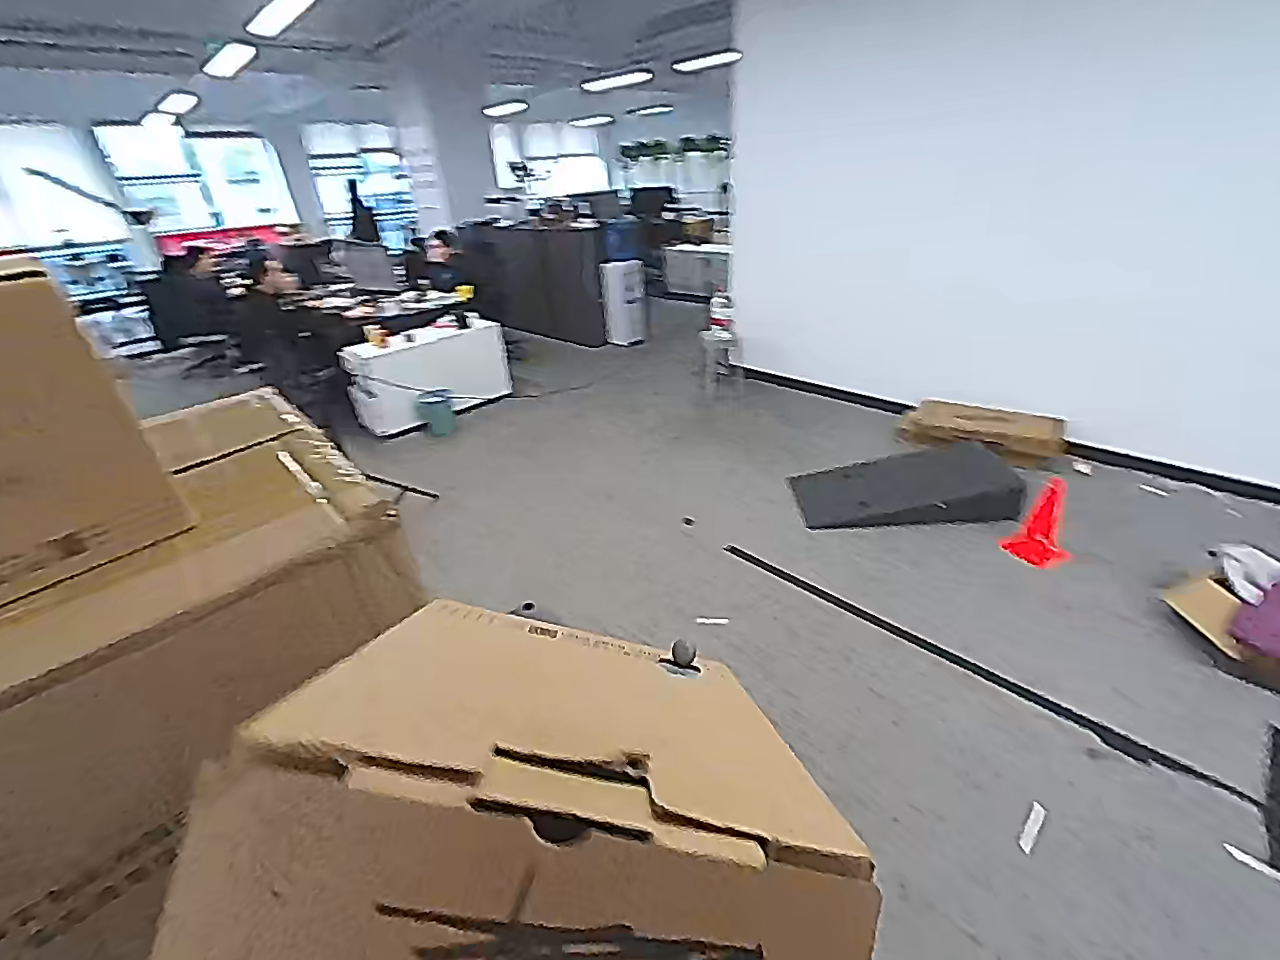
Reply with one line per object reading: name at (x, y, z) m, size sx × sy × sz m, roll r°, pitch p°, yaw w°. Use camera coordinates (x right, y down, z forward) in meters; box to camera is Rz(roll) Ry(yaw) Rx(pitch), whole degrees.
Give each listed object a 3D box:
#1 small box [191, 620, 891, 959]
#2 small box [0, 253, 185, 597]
small box at (-0.041, 0.168, 0.208) m, size 0.168 × 0.179 × 0.176 m, roll 14°, pitch -2°, yaw -4°
small box at (-0.424, -0.029, 0.327) m, size 0.179 × 0.176 × 0.168 m, roll 21°, pitch 39°, yaw 35°
